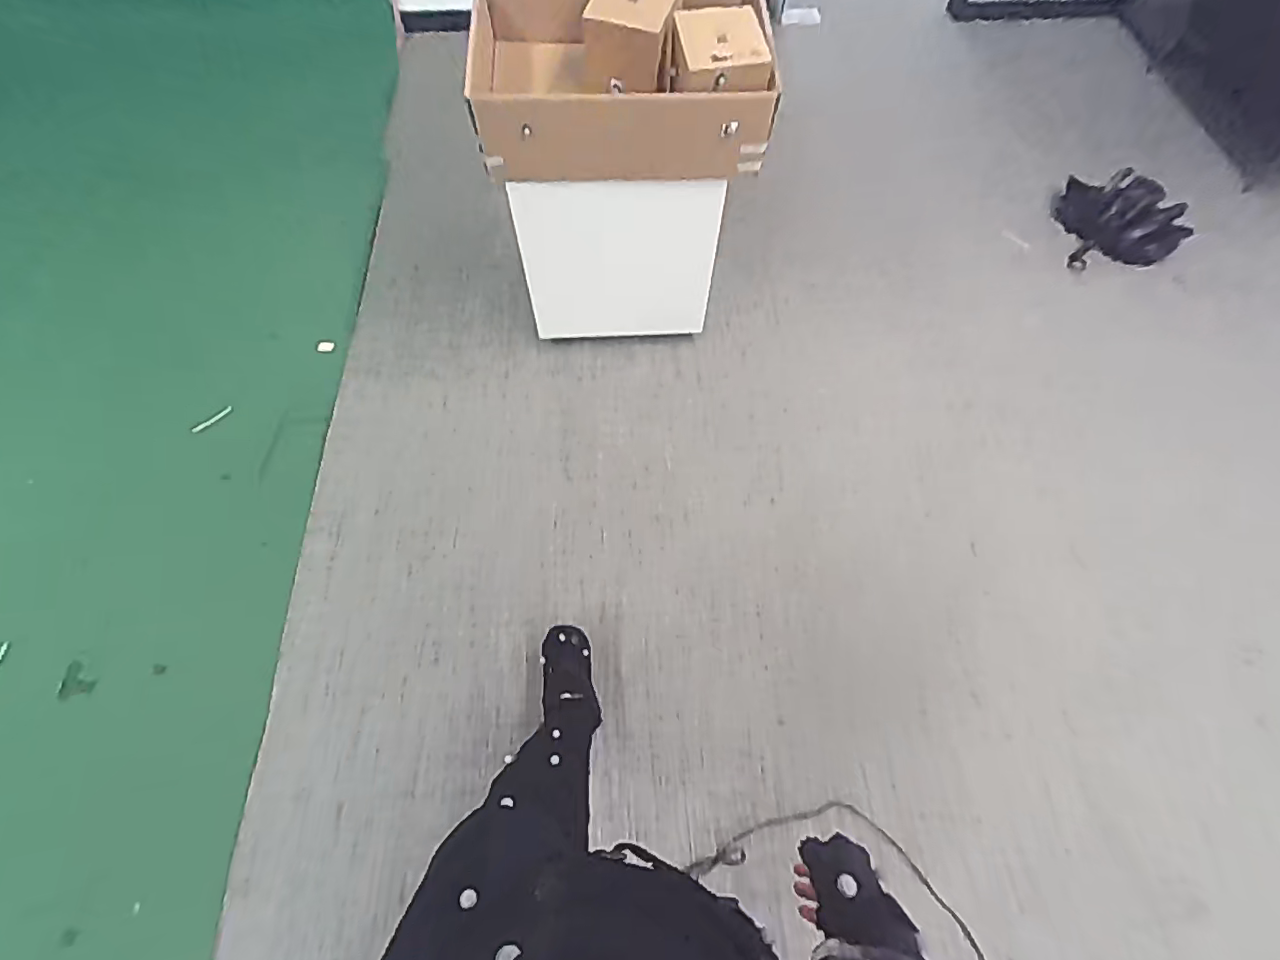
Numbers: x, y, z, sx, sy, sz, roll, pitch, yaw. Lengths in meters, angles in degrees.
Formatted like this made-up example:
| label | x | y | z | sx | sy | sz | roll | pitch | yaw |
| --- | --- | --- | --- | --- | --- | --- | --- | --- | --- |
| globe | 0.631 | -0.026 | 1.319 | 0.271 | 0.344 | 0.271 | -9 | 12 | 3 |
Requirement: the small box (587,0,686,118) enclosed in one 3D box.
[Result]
| label | x | y | z | sx | sy | sz | roll | pitch | yaw |
| --- | --- | --- | --- | --- | --- | --- | --- | --- | --- |
| small box | -0.006 | -0.945 | 1.184 | 0.168 | 0.176 | 0.179 | 16 | 71 | 6 |
